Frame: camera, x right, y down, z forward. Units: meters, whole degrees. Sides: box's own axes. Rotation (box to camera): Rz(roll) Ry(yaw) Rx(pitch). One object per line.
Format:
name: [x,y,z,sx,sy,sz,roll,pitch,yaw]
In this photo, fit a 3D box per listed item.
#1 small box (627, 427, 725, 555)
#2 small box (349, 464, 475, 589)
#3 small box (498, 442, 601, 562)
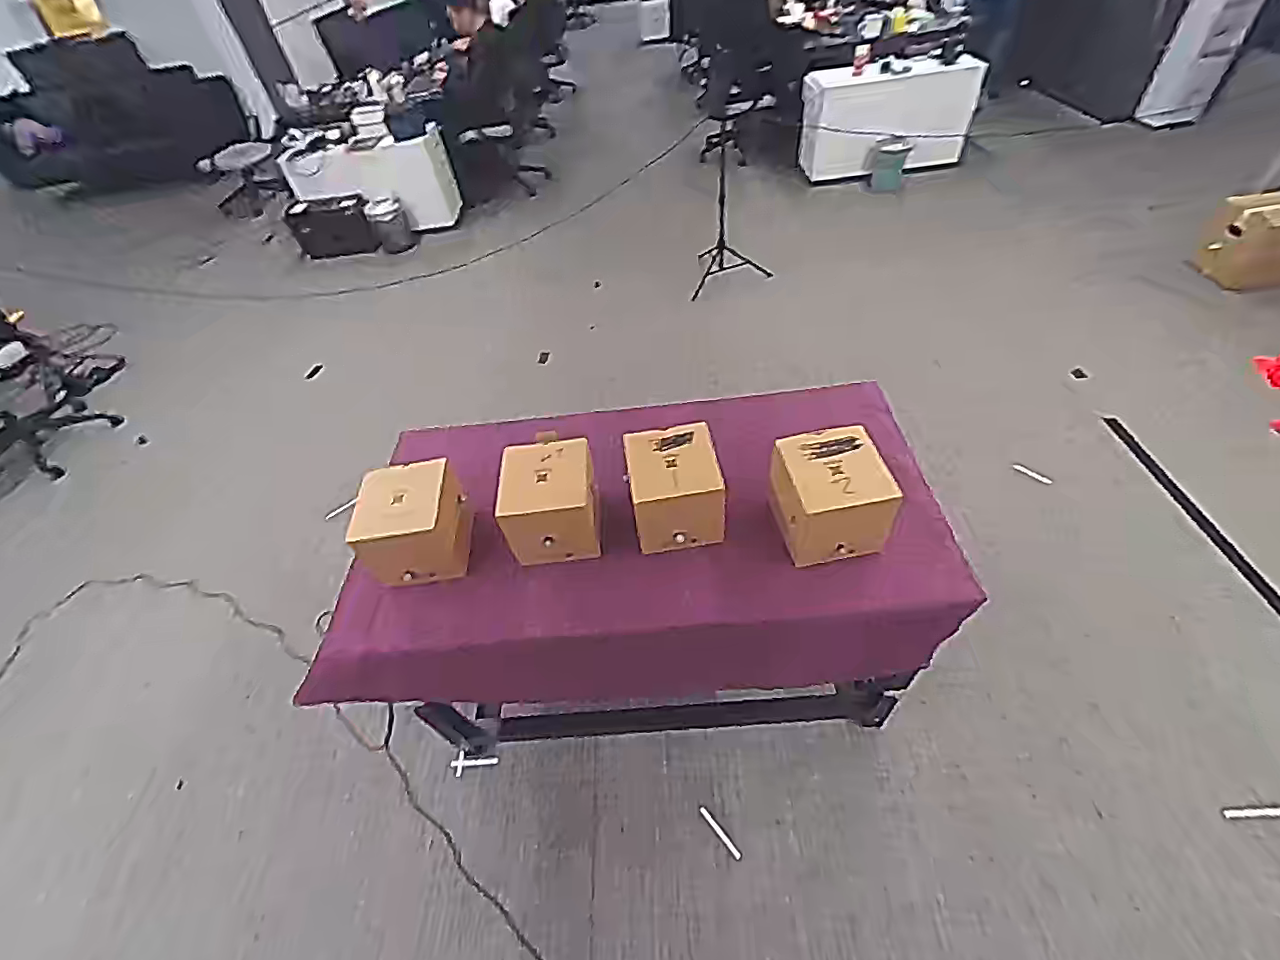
small box: [0.069,0.023,1.074,0.168,0.176,0.179,-9,48,0]
small box: [-0.442,0.095,1.083,0.168,0.176,0.179,-9,48,1]
small box: [-0.171,0.051,1.082,0.168,0.176,0.179,-7,48,2]
